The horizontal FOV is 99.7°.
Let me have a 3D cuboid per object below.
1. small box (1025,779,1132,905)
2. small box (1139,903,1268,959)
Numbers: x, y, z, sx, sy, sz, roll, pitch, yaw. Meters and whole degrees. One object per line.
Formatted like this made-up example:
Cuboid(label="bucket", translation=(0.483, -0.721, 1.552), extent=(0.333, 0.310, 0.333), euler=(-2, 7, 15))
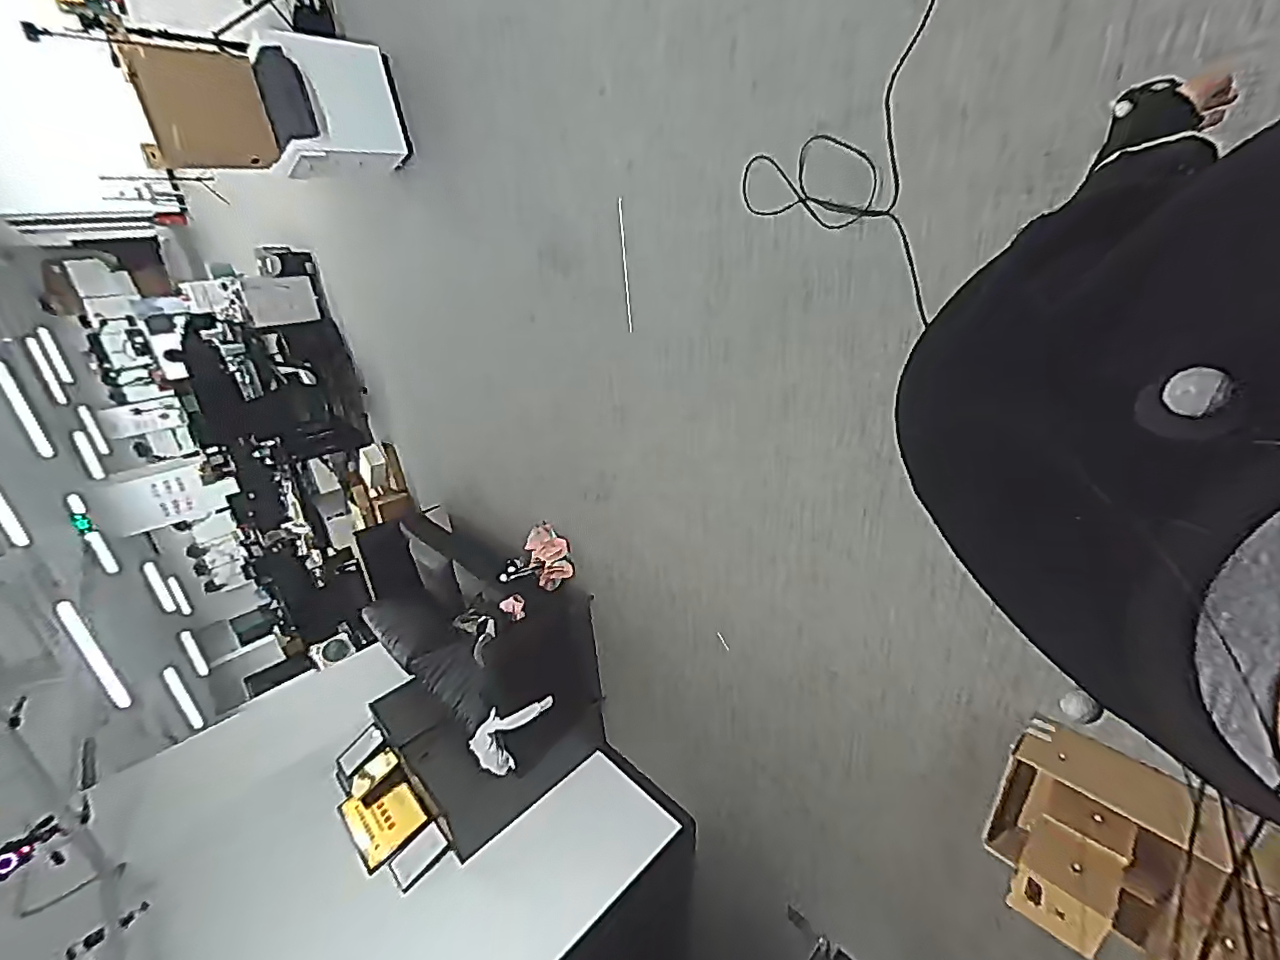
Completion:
Cuboid(label="small box", translation=(1.136, 0.925, 1.400), extent=(0.179, 0.176, 0.168), euler=(19, 121, 42))
Cuboid(label="small box", translation=(1.187, 1.063, 1.141), extent=(0.168, 0.176, 0.179), euler=(24, 125, 41))
